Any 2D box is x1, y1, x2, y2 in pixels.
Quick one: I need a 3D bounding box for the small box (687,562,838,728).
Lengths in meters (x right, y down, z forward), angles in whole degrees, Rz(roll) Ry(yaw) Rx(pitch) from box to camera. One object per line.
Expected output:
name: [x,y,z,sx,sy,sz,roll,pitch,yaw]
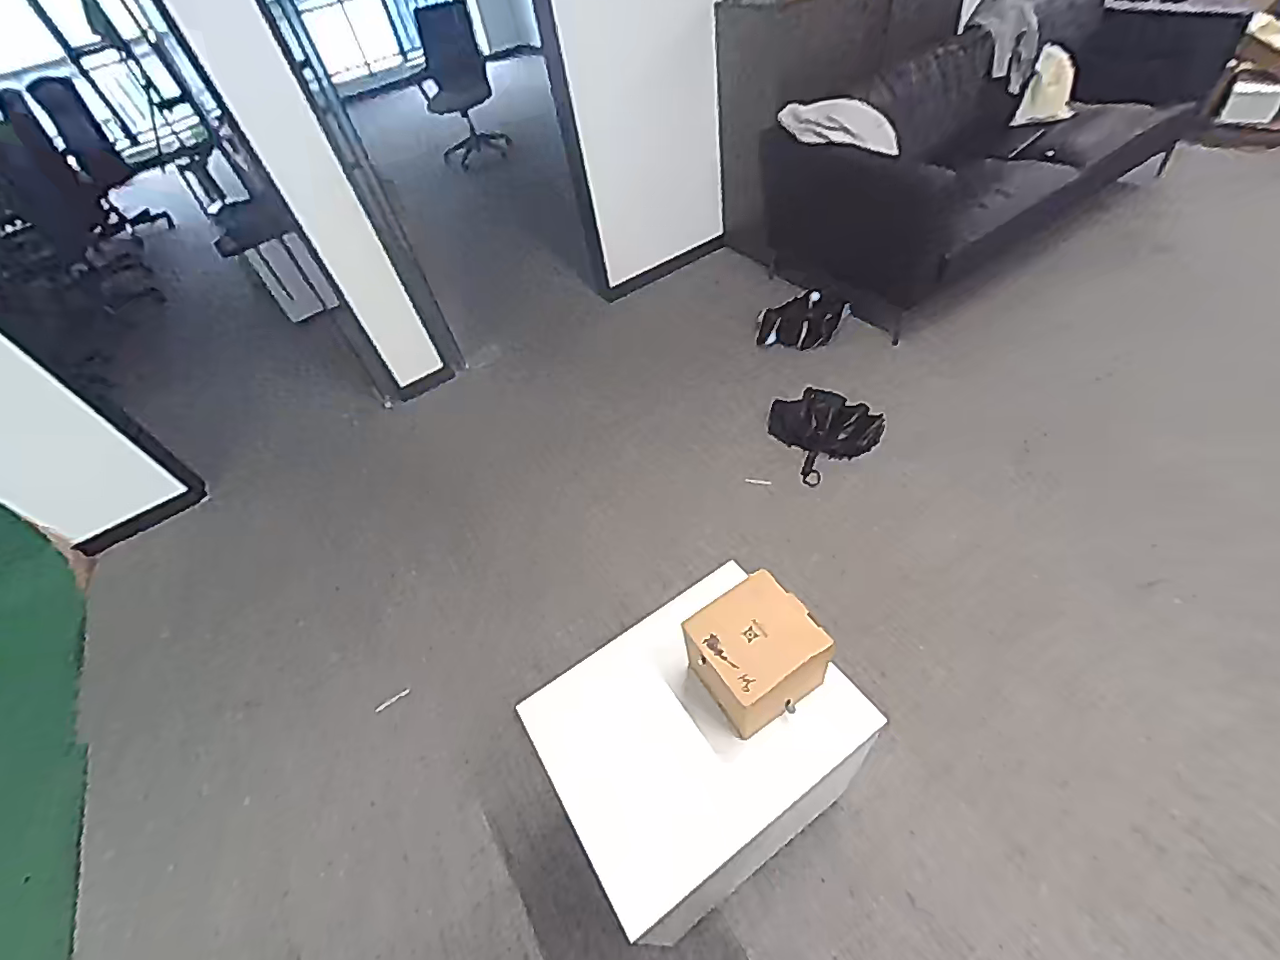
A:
small box: [0.194,0.275,0.900,0.179,0.176,0.168,-29,51,-15]
